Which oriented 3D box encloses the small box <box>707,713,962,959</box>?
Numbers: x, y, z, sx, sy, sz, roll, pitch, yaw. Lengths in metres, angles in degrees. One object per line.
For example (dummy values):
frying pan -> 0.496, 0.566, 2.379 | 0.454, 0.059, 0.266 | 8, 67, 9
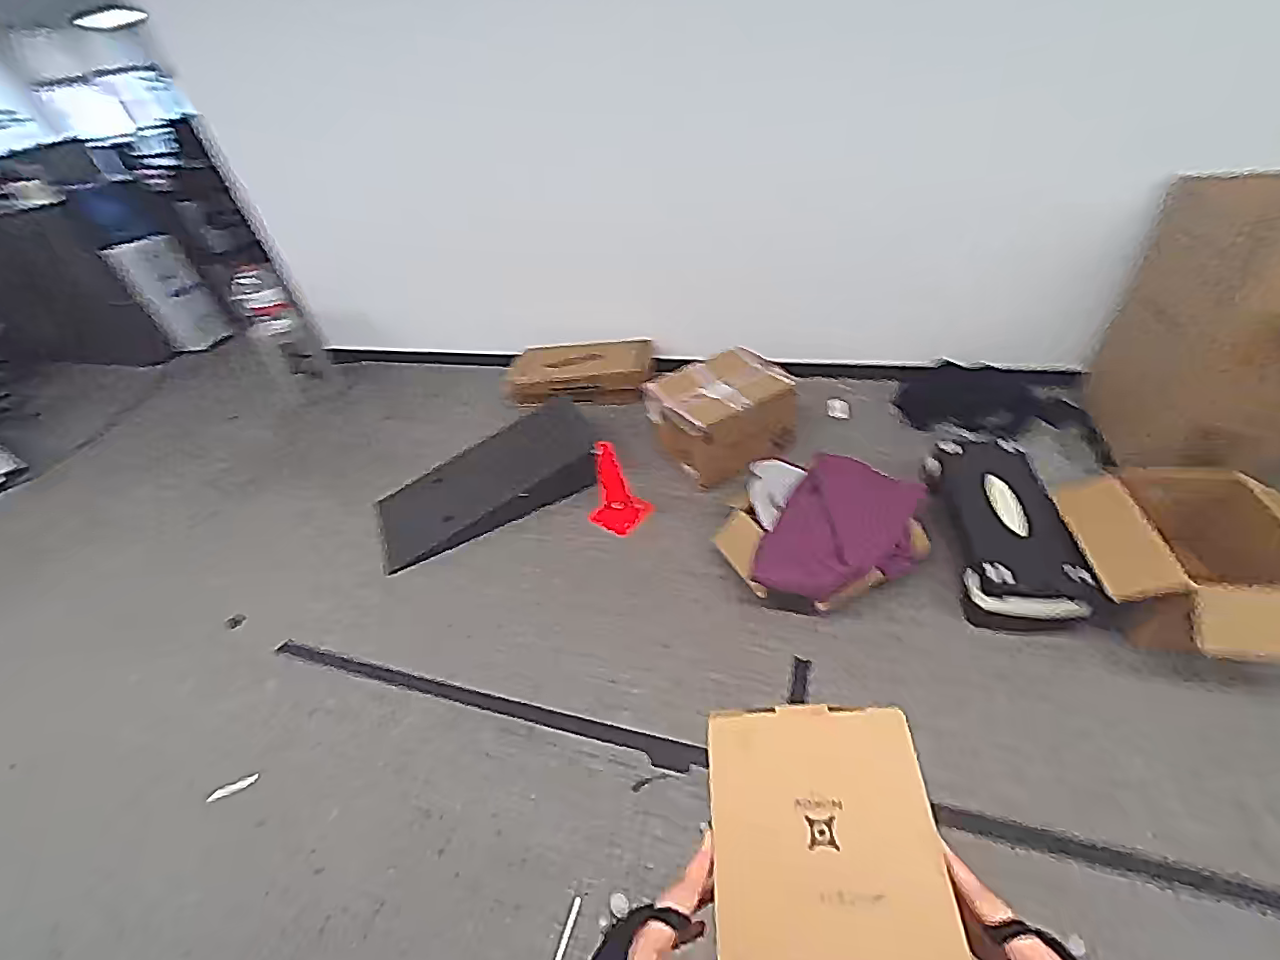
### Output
small box -> 0.148, 0.322, 0.473 | 0.168, 0.176, 0.179 | -6, 49, 9
